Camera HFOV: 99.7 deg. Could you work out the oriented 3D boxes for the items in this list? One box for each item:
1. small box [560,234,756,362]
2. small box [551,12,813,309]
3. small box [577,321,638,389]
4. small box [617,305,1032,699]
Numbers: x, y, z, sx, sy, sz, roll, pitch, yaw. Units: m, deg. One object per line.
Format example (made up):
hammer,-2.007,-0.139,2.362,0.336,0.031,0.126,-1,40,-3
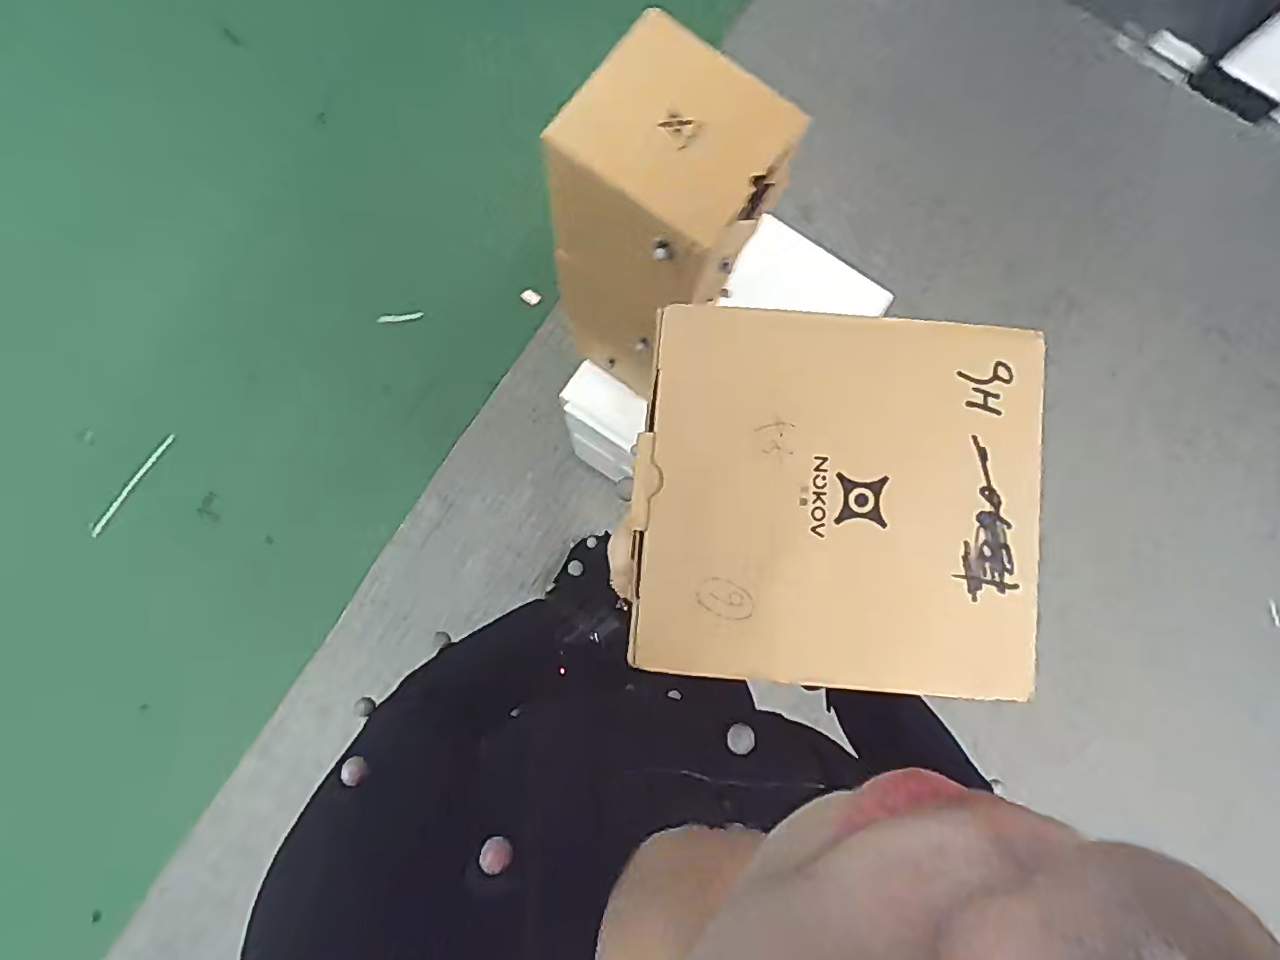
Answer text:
small box,0.017,-0.266,0.707,0.179,0.176,0.168,34,80,1
small box,0.031,-0.294,0.547,0.179,0.176,0.168,36,80,0
small box,0.012,-0.258,0.869,0.168,0.176,0.179,35,81,-1
small box,0.085,0.012,0.318,0.179,0.176,0.168,4,86,2
